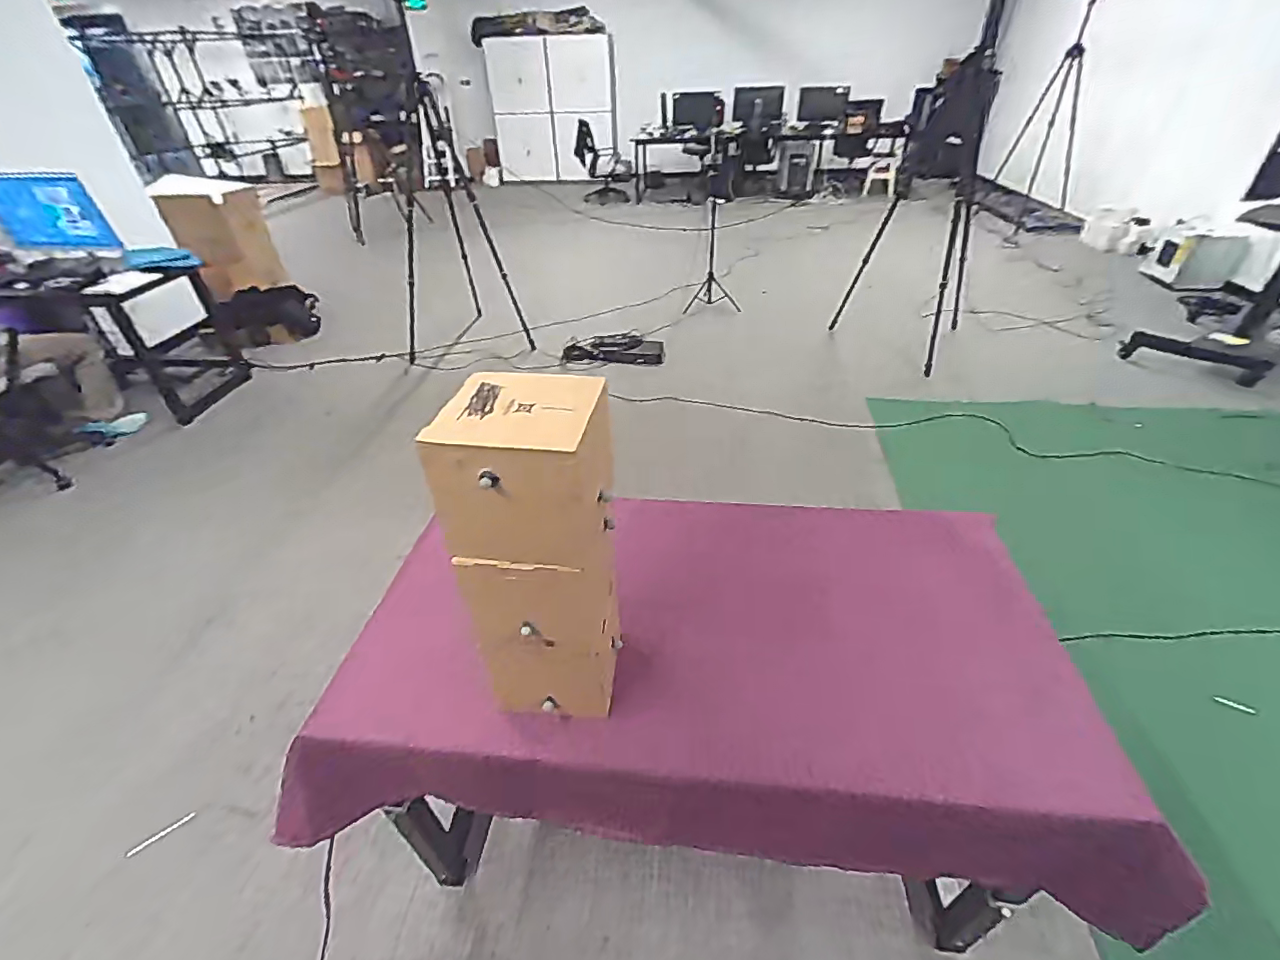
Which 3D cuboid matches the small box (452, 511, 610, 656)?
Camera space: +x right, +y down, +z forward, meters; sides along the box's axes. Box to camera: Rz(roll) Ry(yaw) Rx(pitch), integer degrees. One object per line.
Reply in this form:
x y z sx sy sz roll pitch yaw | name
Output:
-0.137 0.118 0.759 0.168 0.176 0.179 2 38 6 | small box

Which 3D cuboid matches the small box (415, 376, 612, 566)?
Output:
-0.136 -0.013 0.659 0.179 0.176 0.168 4 38 7 | small box

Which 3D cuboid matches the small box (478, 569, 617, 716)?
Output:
-0.133 0.252 0.855 0.179 0.176 0.168 2 37 4 | small box
